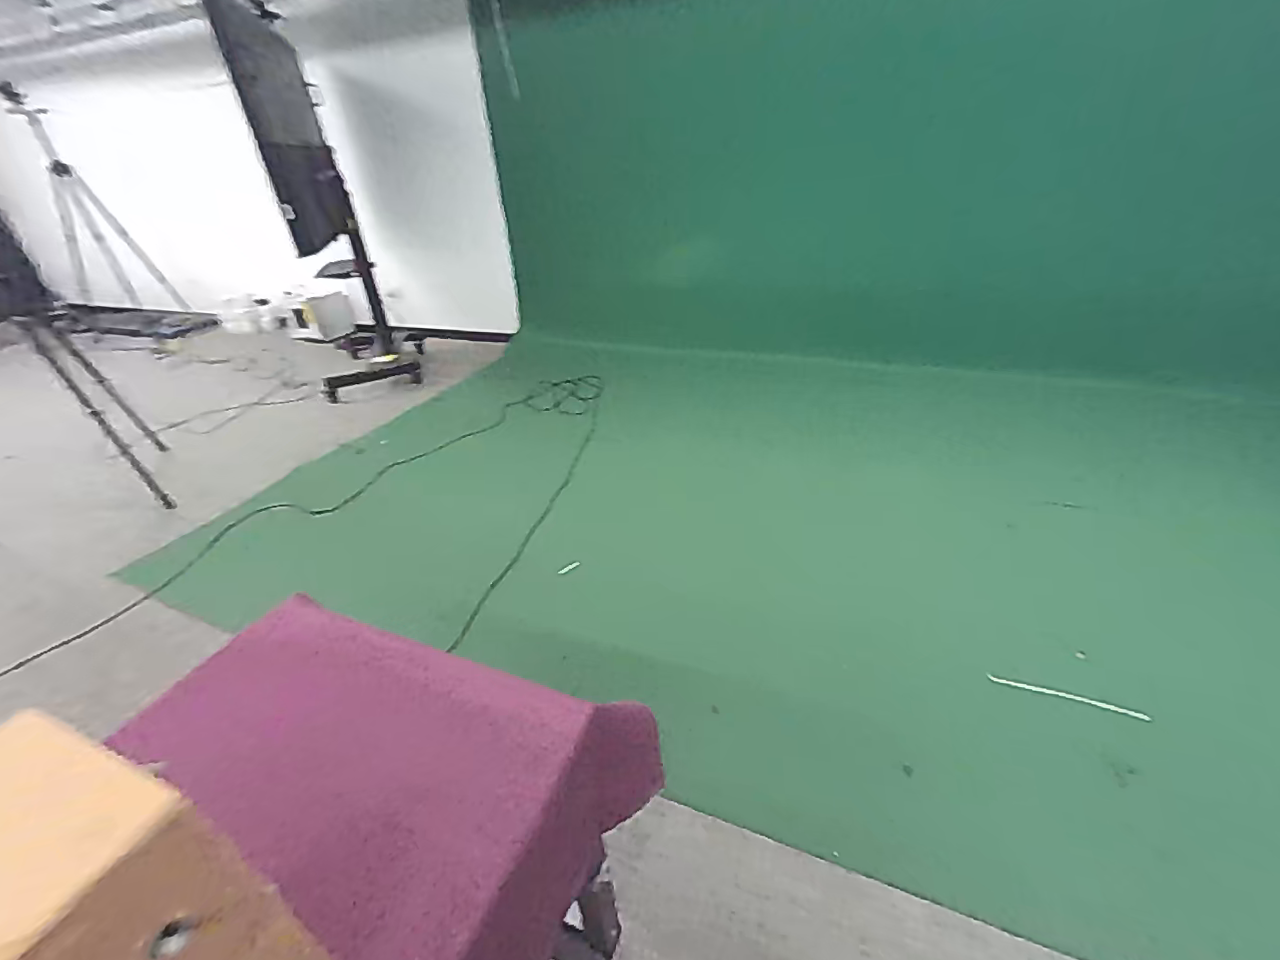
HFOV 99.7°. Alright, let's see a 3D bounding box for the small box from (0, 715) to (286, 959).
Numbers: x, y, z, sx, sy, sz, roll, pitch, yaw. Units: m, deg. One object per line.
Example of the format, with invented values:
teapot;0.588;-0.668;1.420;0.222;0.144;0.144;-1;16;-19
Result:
small box;-0.372;0.290;0.337;0.179;0.176;0.168;10;34;21
